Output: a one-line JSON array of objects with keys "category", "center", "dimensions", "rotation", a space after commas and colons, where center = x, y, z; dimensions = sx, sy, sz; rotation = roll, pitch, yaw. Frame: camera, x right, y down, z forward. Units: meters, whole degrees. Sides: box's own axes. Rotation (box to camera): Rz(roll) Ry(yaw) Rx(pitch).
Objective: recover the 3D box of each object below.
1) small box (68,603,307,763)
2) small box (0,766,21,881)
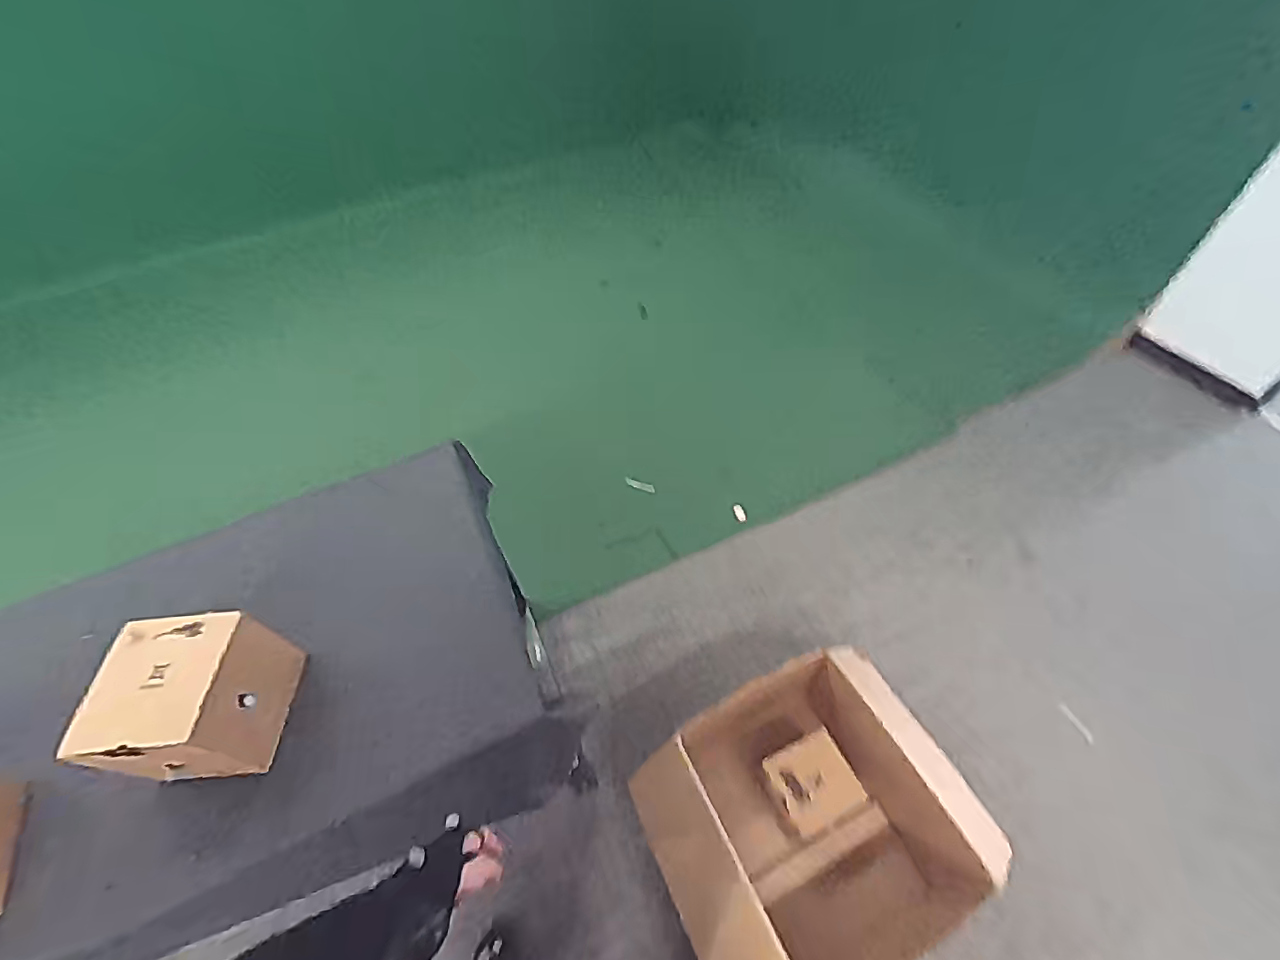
[{"category": "small box", "center": [-0.617, 0.295, 0.770], "dimensions": [0.168, 0.176, 0.179], "rotation": [-4, 52, 1]}, {"category": "small box", "center": [-0.927, 0.452, 0.652], "dimensions": [0.168, 0.176, 0.179], "rotation": [-24, 55, -13]}]
